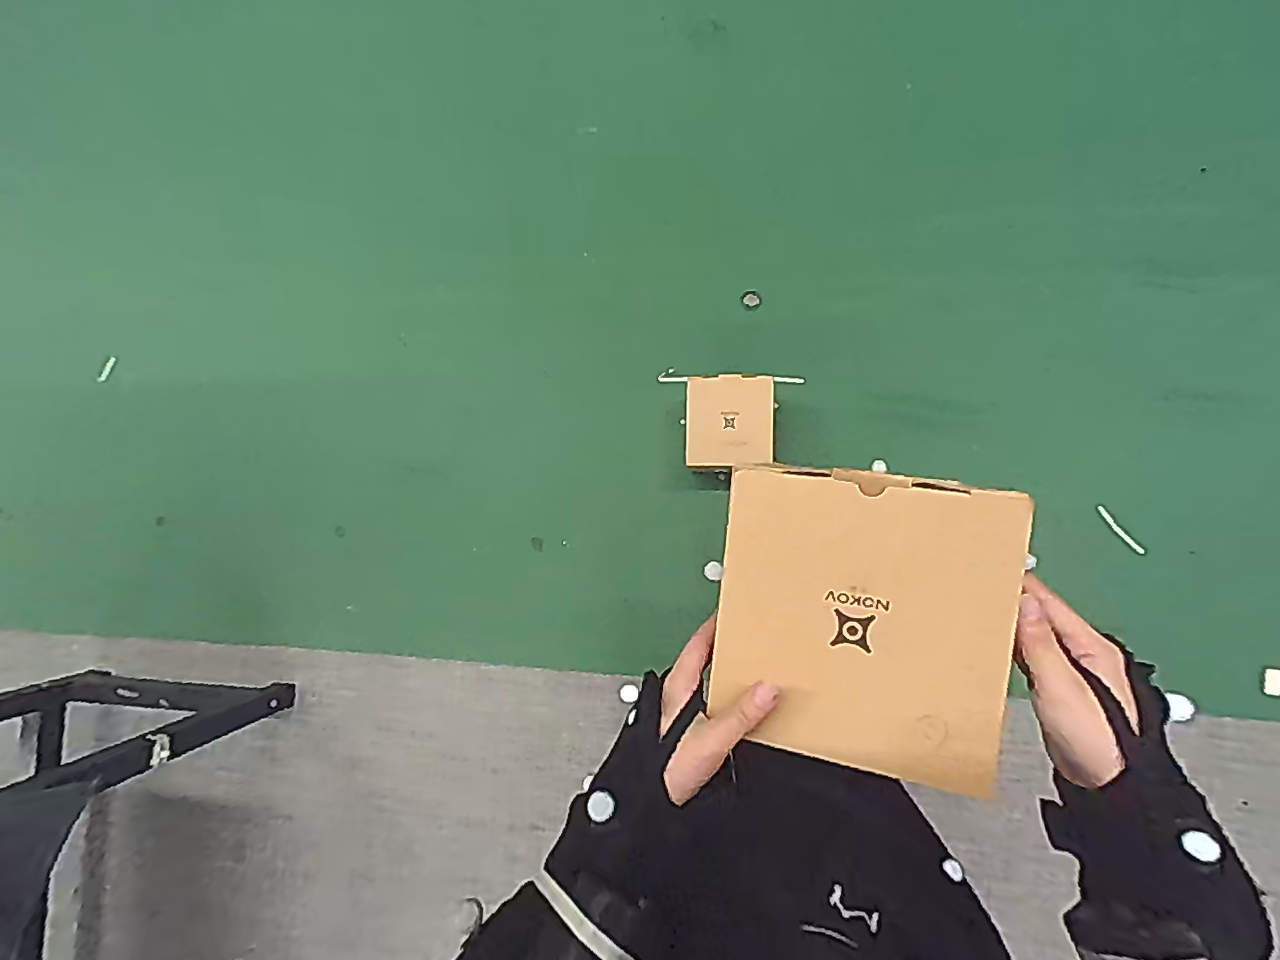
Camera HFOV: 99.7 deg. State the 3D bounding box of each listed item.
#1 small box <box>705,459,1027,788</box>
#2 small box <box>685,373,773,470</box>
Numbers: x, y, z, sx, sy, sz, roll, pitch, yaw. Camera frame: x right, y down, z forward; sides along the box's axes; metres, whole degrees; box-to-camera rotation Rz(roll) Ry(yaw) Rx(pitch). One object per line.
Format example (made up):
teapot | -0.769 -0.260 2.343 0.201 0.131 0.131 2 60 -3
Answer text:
small box | 0.154 0.080 0.404 0.168 0.176 0.179 7 94 18
small box | 0.180 -0.113 1.106 0.168 0.176 0.179 1 88 9
